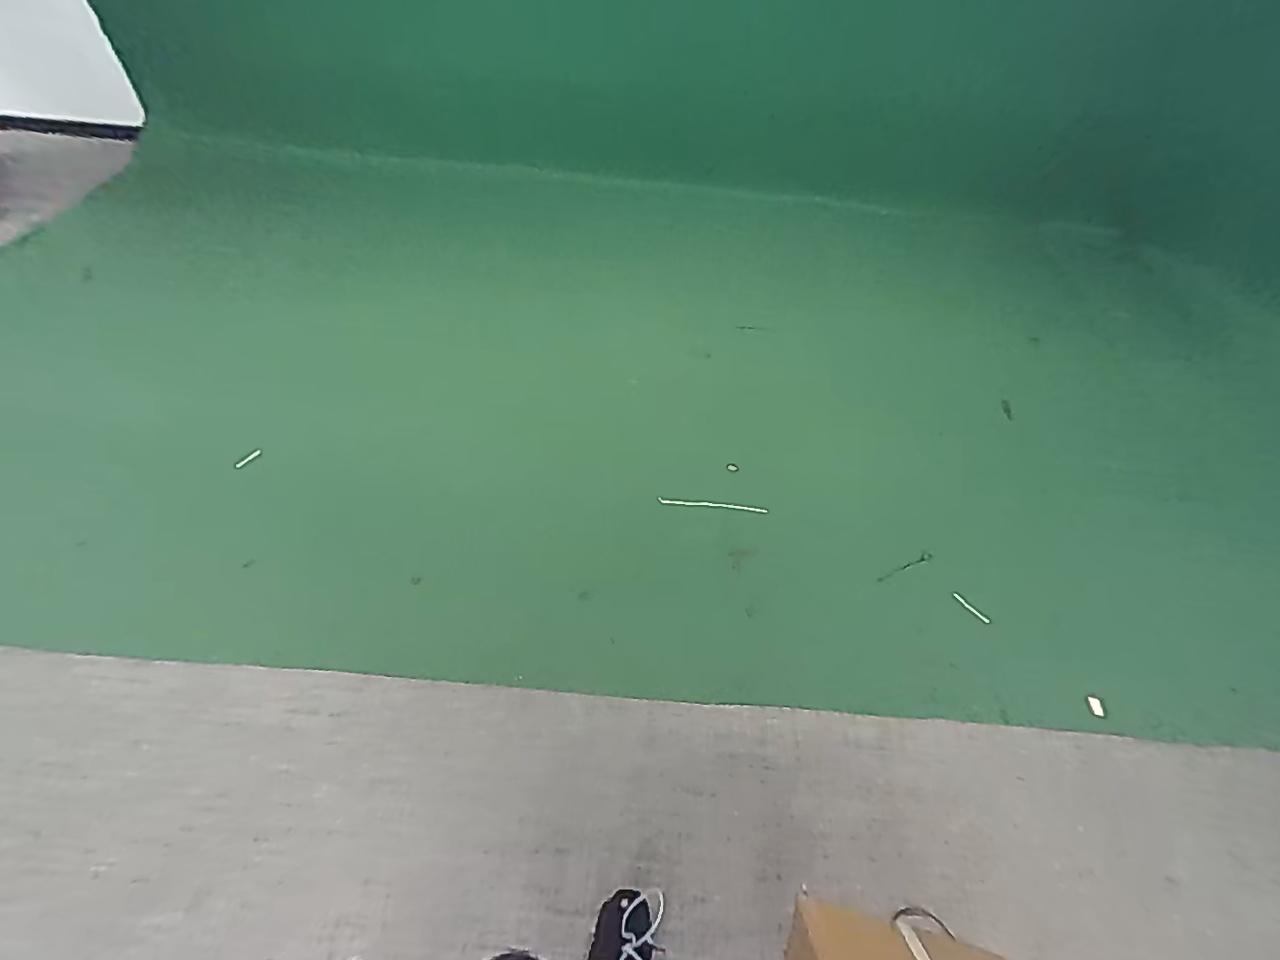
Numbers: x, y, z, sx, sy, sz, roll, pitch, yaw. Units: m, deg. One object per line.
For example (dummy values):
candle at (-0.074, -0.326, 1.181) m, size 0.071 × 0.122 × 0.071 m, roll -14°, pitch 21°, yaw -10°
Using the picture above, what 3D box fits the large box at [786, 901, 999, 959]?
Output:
large box at (0.342, 0.804, 0.607) m, size 0.320 × 0.408 × 0.320 m, roll 15°, pitch 86°, yaw 5°
